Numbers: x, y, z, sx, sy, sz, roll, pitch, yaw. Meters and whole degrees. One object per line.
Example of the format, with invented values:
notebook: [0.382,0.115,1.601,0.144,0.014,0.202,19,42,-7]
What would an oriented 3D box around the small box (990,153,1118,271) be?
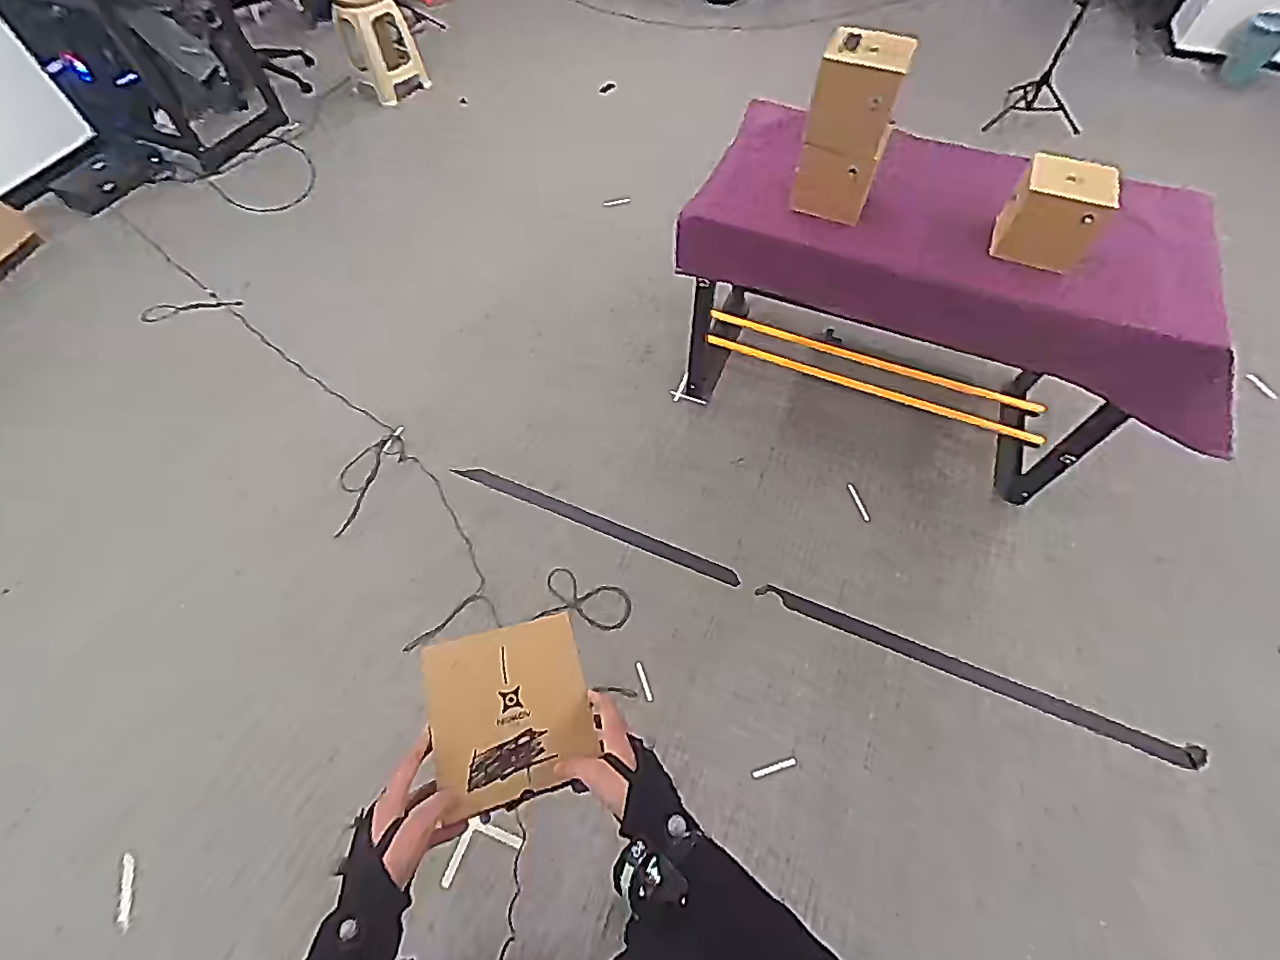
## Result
small box: [0.940,-0.610,1.239,0.179,0.176,0.168,21,61,12]

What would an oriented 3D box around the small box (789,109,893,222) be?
small box: [0.490,-0.772,1.338,0.179,0.176,0.168,22,62,13]

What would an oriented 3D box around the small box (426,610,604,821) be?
small box: [-0.148,0.275,0.640,0.168,0.176,0.179,-9,63,-17]
